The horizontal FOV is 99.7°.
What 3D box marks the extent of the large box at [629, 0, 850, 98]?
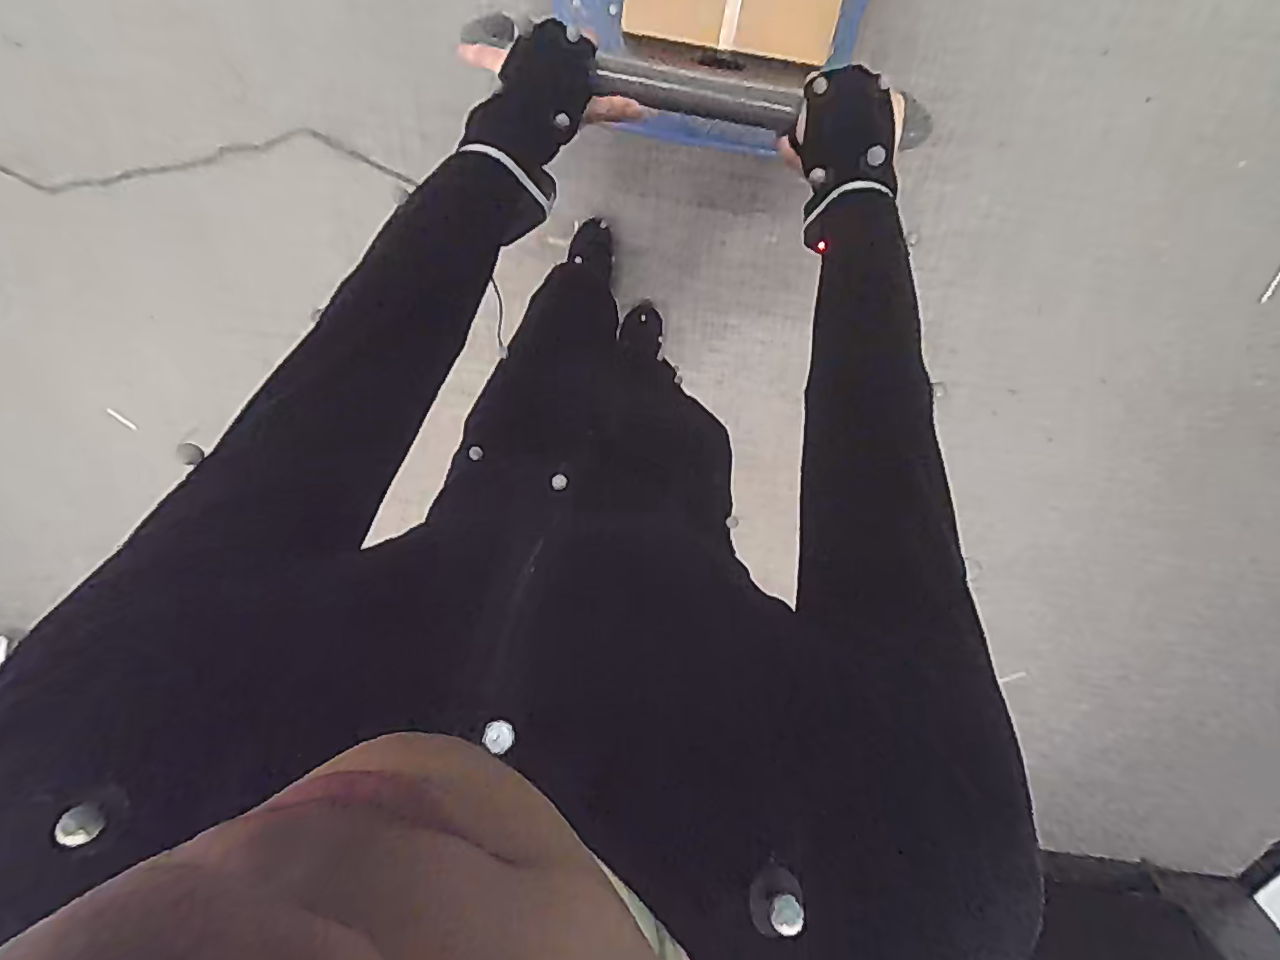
[{"bbox_3d":[0.172,-0.878,0.840,0.320,0.320,0.408,9,117,-2],"label":"large box"}]
